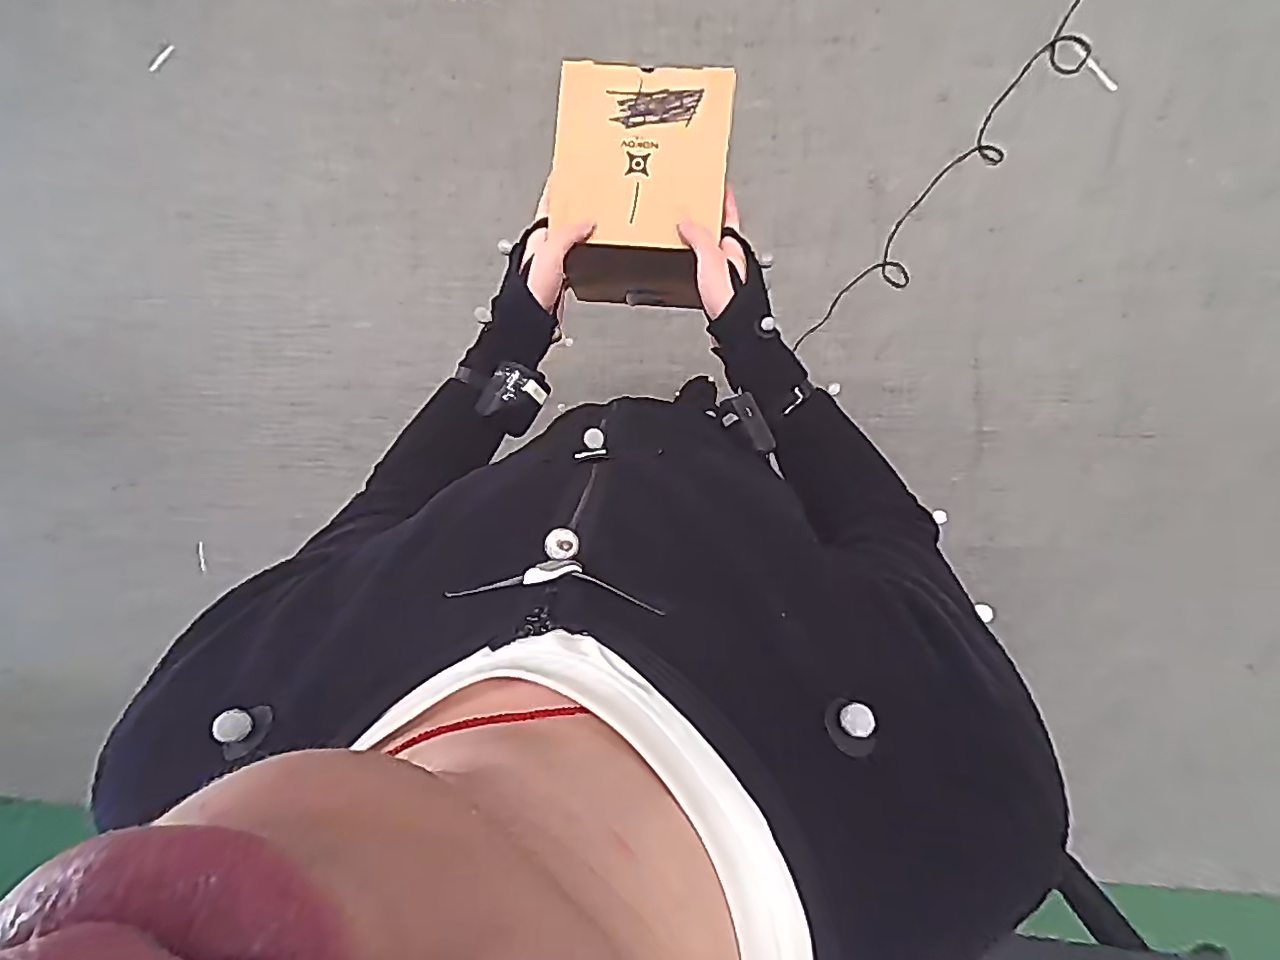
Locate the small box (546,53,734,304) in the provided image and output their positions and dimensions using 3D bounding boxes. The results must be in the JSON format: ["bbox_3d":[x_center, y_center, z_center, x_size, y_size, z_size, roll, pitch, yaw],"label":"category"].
[{"bbox_3d":[0.004,-0.310,0.586,0.168,0.176,0.179,5,90,4],"label":"small box"}]
